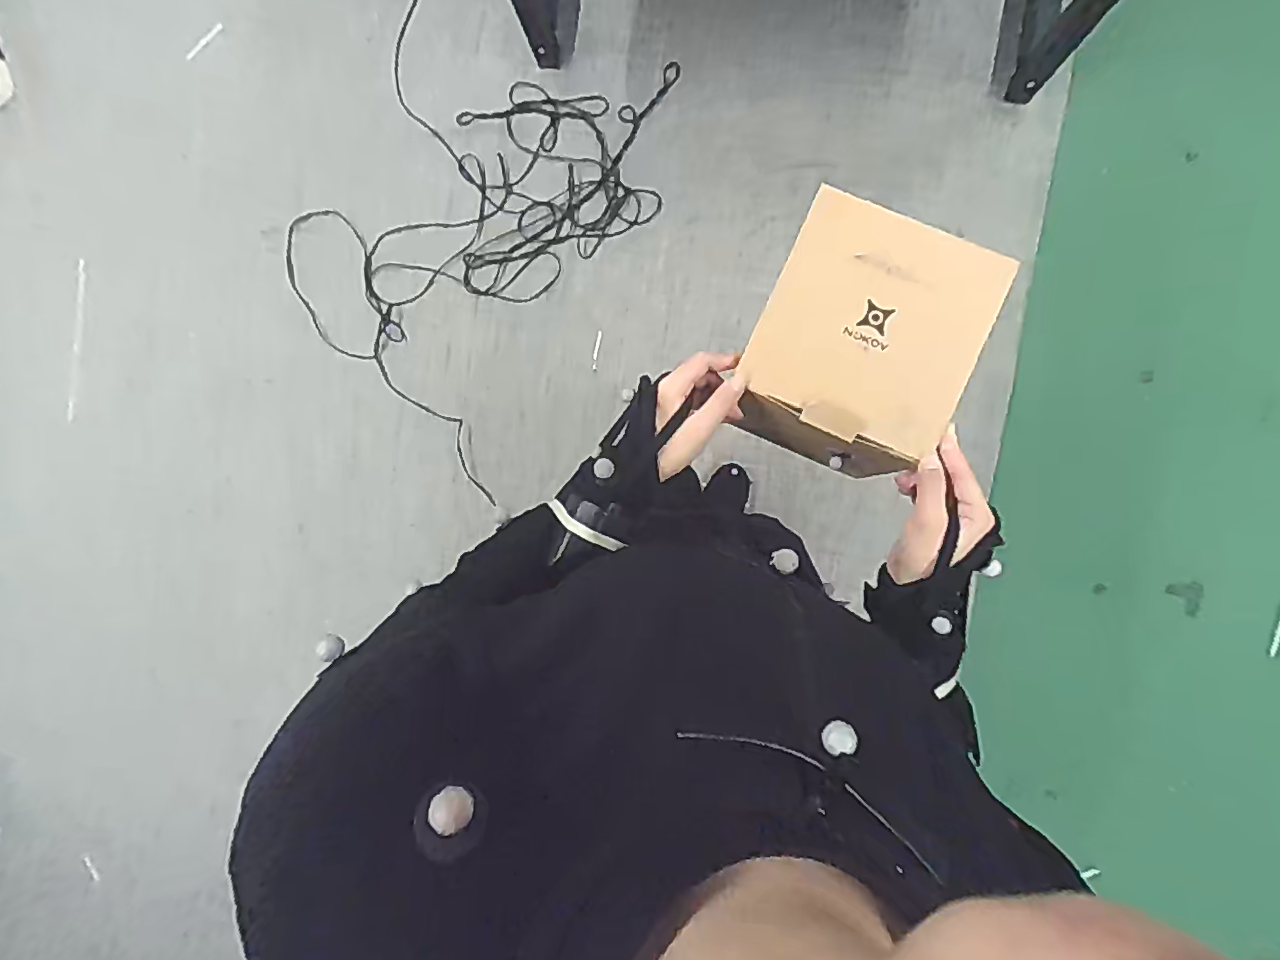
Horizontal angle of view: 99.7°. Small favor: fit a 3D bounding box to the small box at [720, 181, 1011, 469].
[{"bbox_3d":[0.182,-0.120,0.496,0.168,0.176,0.179,24,88,4],"label":"small box"}]
